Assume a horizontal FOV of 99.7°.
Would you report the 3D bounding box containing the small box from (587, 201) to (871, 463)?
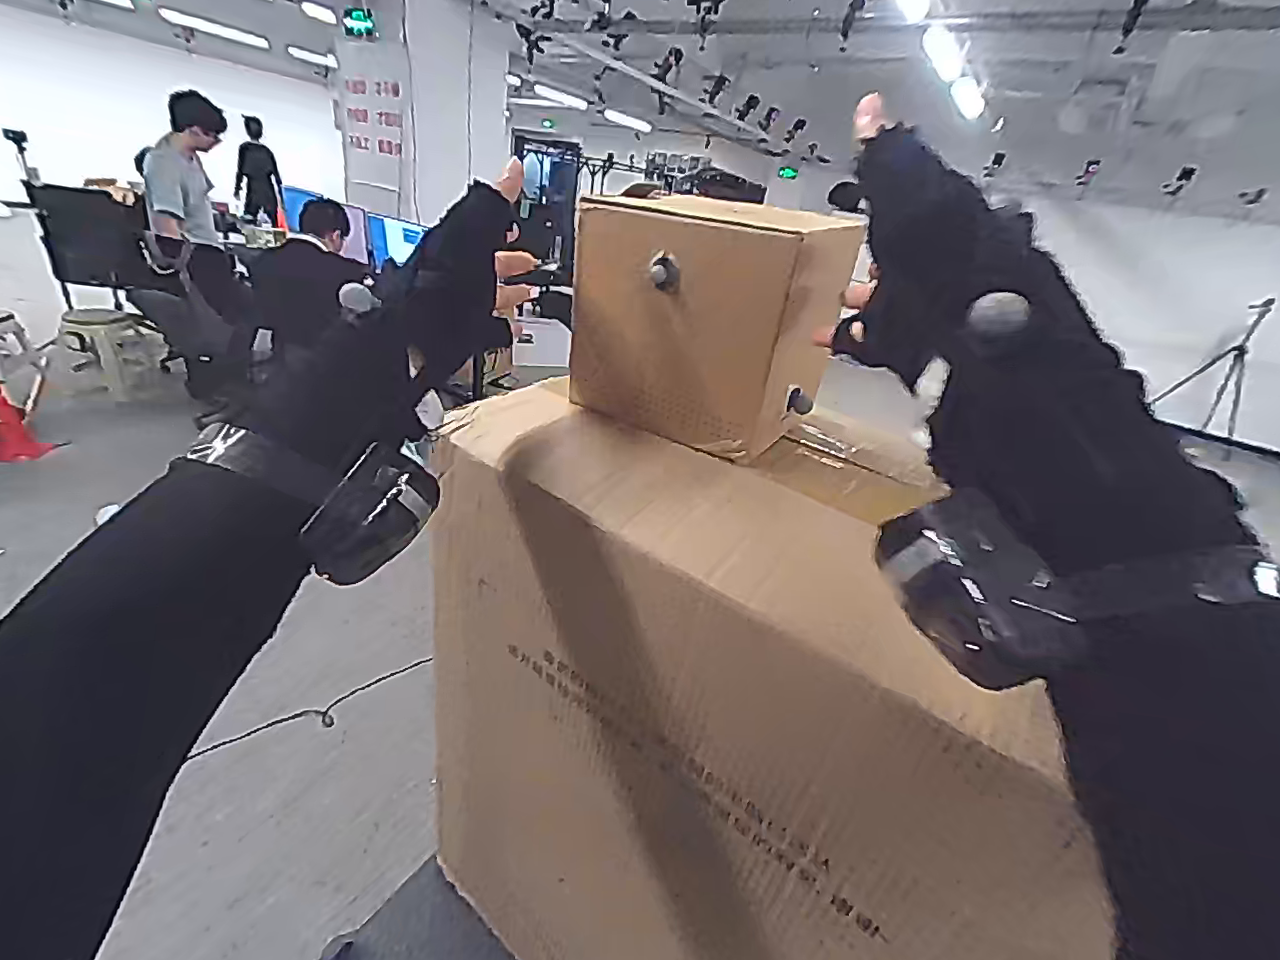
[{"bbox_3d":[0.069,-0.135,0.469,0.179,0.176,0.168,24,35,24],"label":"small box"}]
